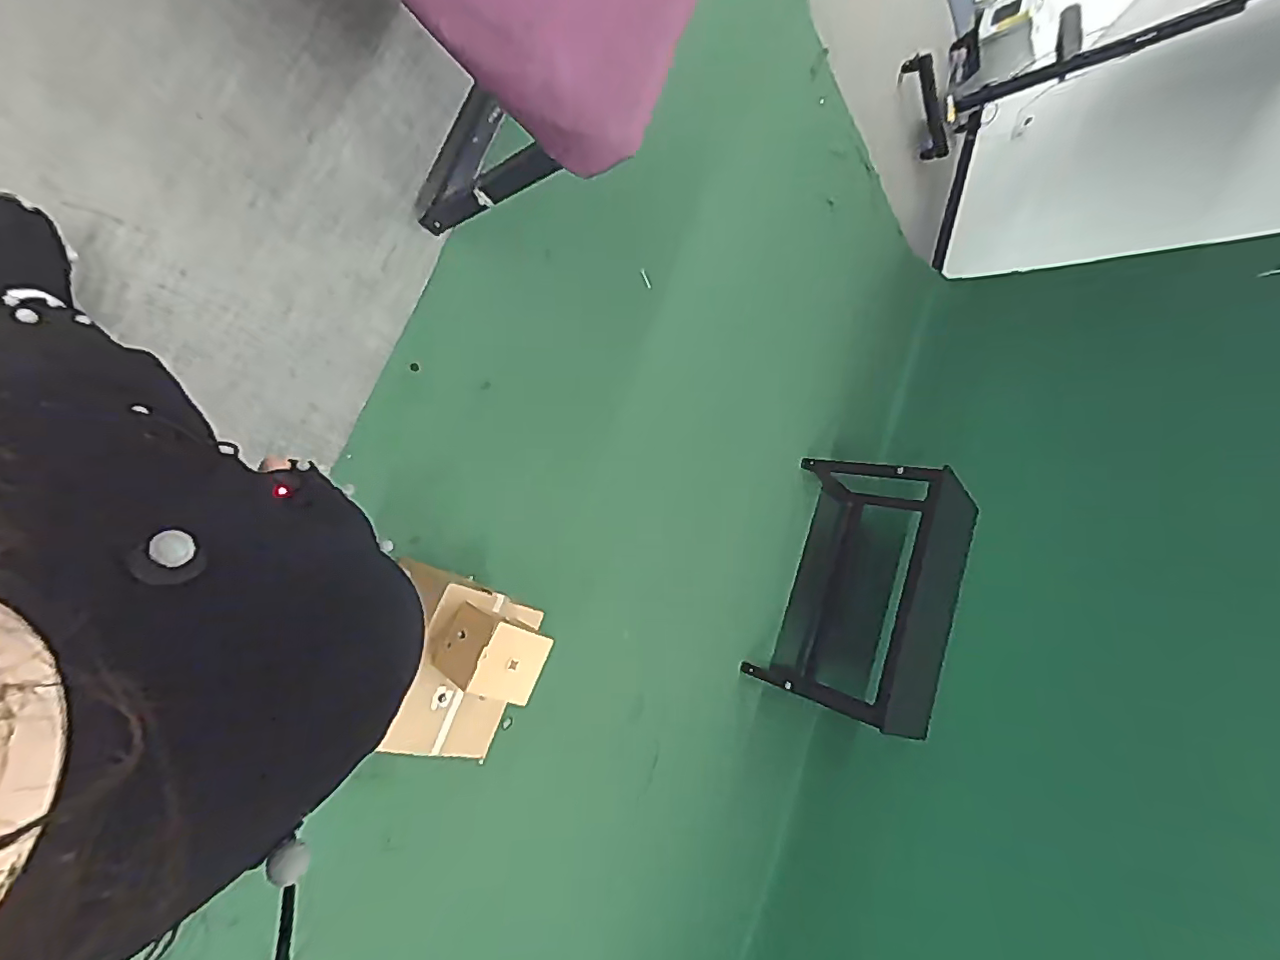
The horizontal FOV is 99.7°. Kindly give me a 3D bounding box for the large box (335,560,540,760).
[{"bbox_3d":[-0.541,0.473,1.456,0.320,0.320,0.408,33,74,-41],"label":"large box"}]

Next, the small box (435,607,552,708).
[{"bbox_3d":[-0.351,0.419,1.292,0.179,0.176,0.168,35,72,-40],"label":"small box"}]
